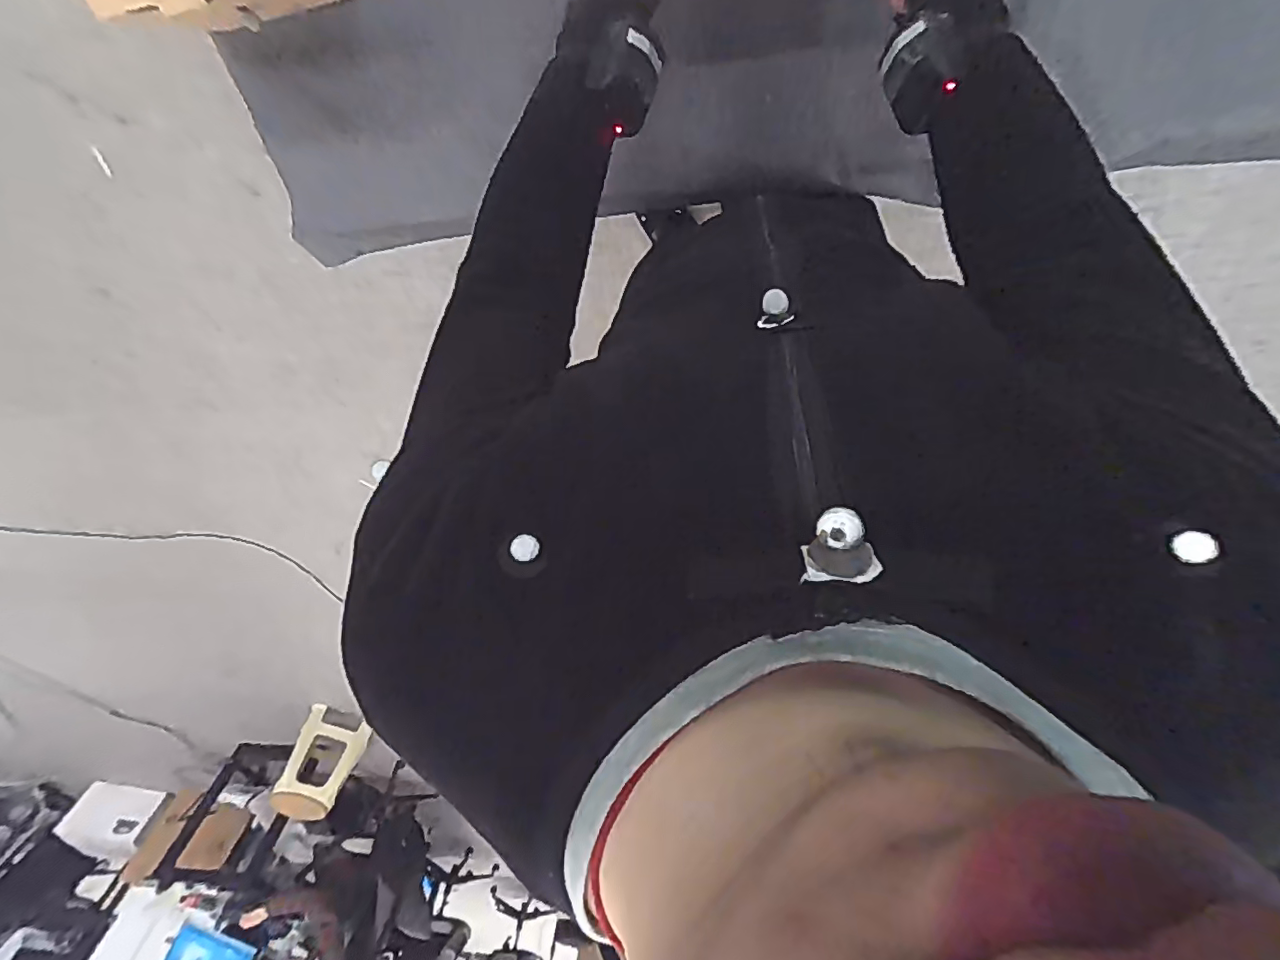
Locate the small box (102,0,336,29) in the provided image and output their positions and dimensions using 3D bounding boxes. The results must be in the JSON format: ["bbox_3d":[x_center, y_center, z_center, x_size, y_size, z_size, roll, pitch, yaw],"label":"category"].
[{"bbox_3d":[-0.389,-0.523,0.472,0.168,0.176,0.179,-5,128,11],"label":"small box"}]
